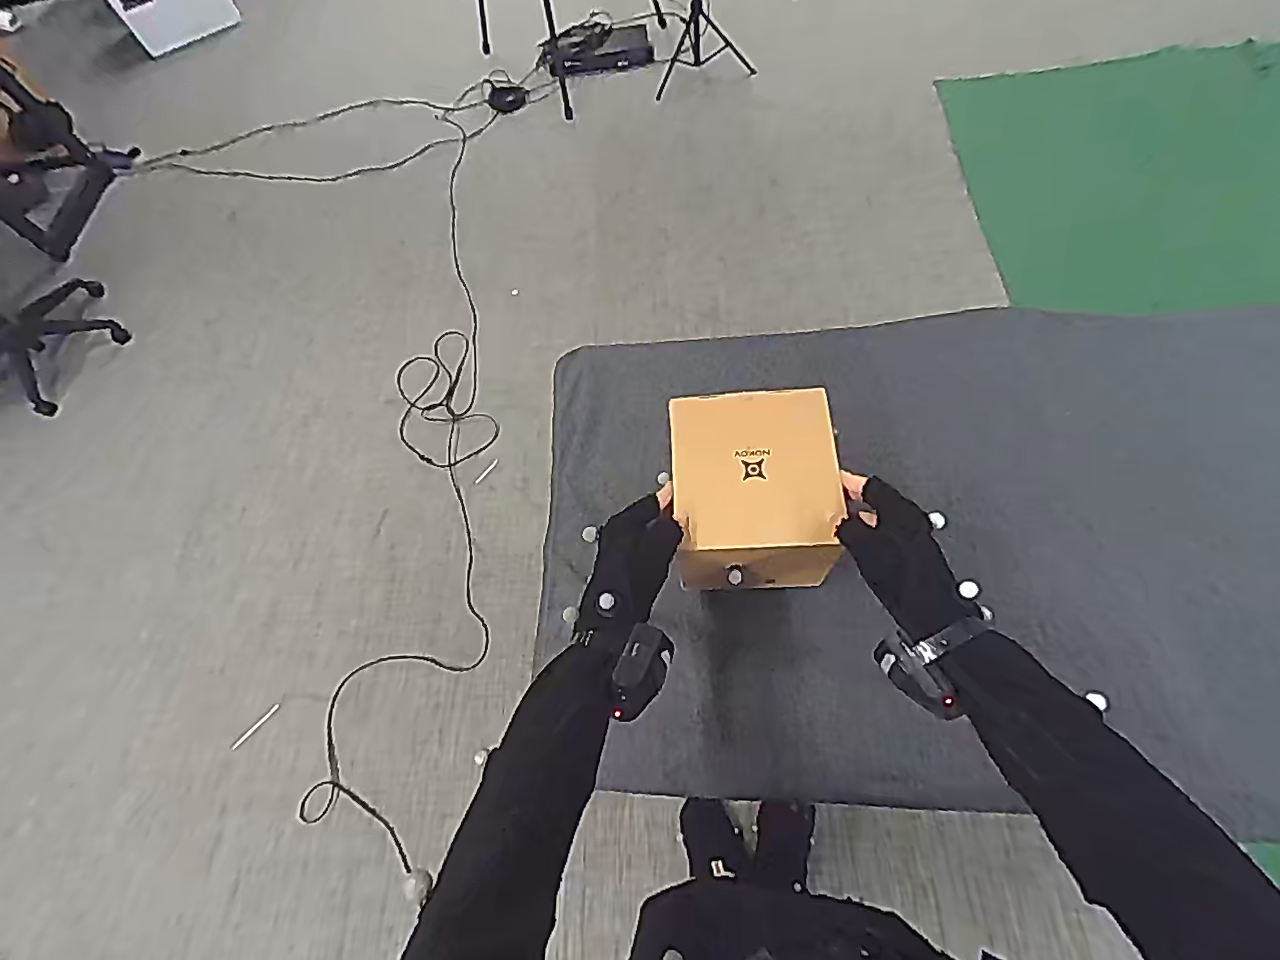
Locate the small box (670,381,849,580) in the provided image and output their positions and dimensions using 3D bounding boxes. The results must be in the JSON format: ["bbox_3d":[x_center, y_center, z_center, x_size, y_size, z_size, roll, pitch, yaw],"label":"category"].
[{"bbox_3d":[0.124,0.012,0.612,0.168,0.176,0.179,-4,65,7],"label":"small box"}]
